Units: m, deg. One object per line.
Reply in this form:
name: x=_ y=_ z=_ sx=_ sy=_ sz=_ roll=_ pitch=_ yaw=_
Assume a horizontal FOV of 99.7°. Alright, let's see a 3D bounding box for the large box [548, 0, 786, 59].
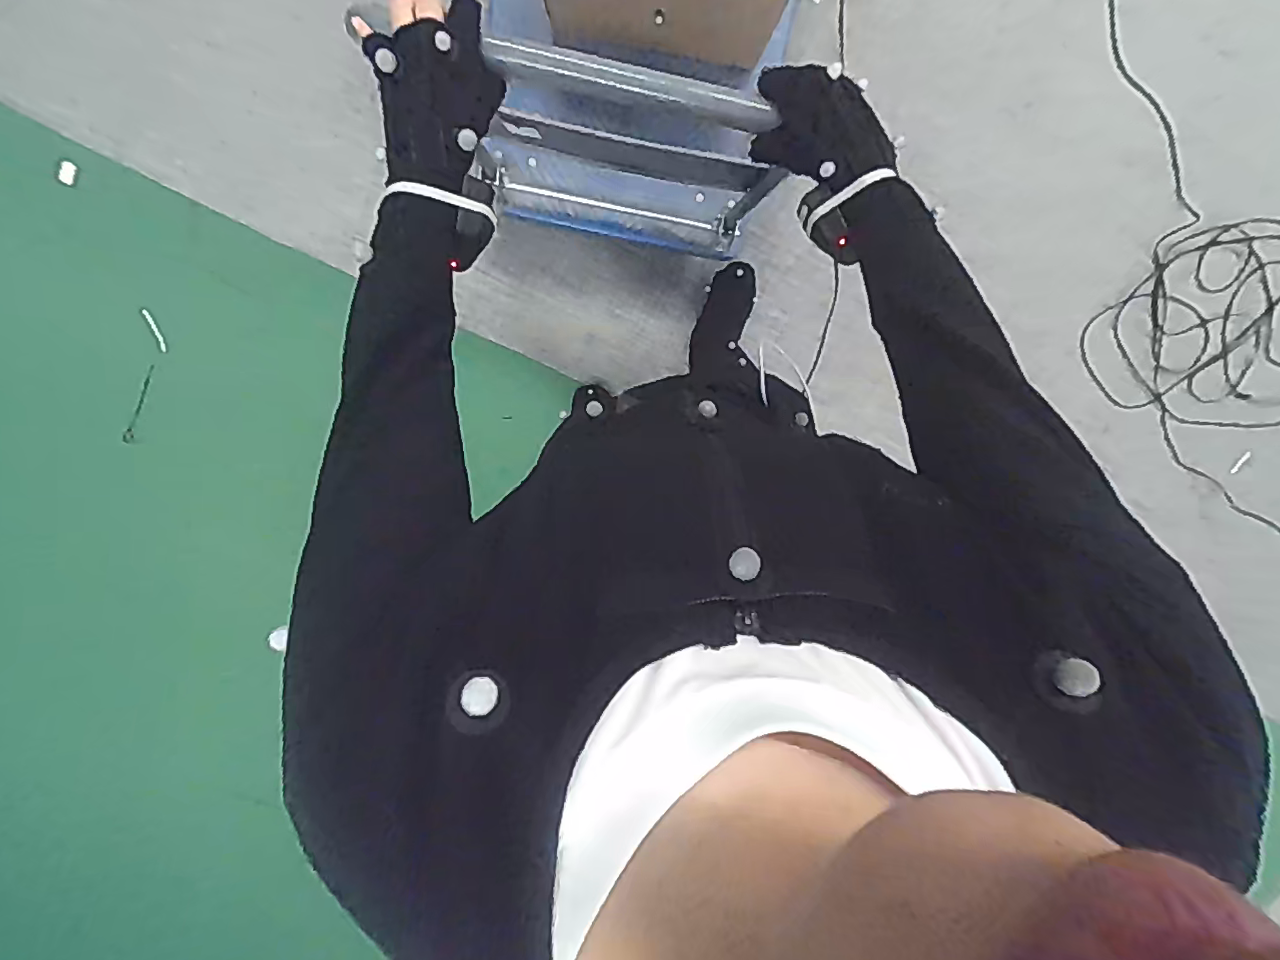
large box: x=0.054 y=-0.949 z=0.874 sx=0.408 sy=0.320 sz=0.320 roll=7 pitch=106 yaw=-4
